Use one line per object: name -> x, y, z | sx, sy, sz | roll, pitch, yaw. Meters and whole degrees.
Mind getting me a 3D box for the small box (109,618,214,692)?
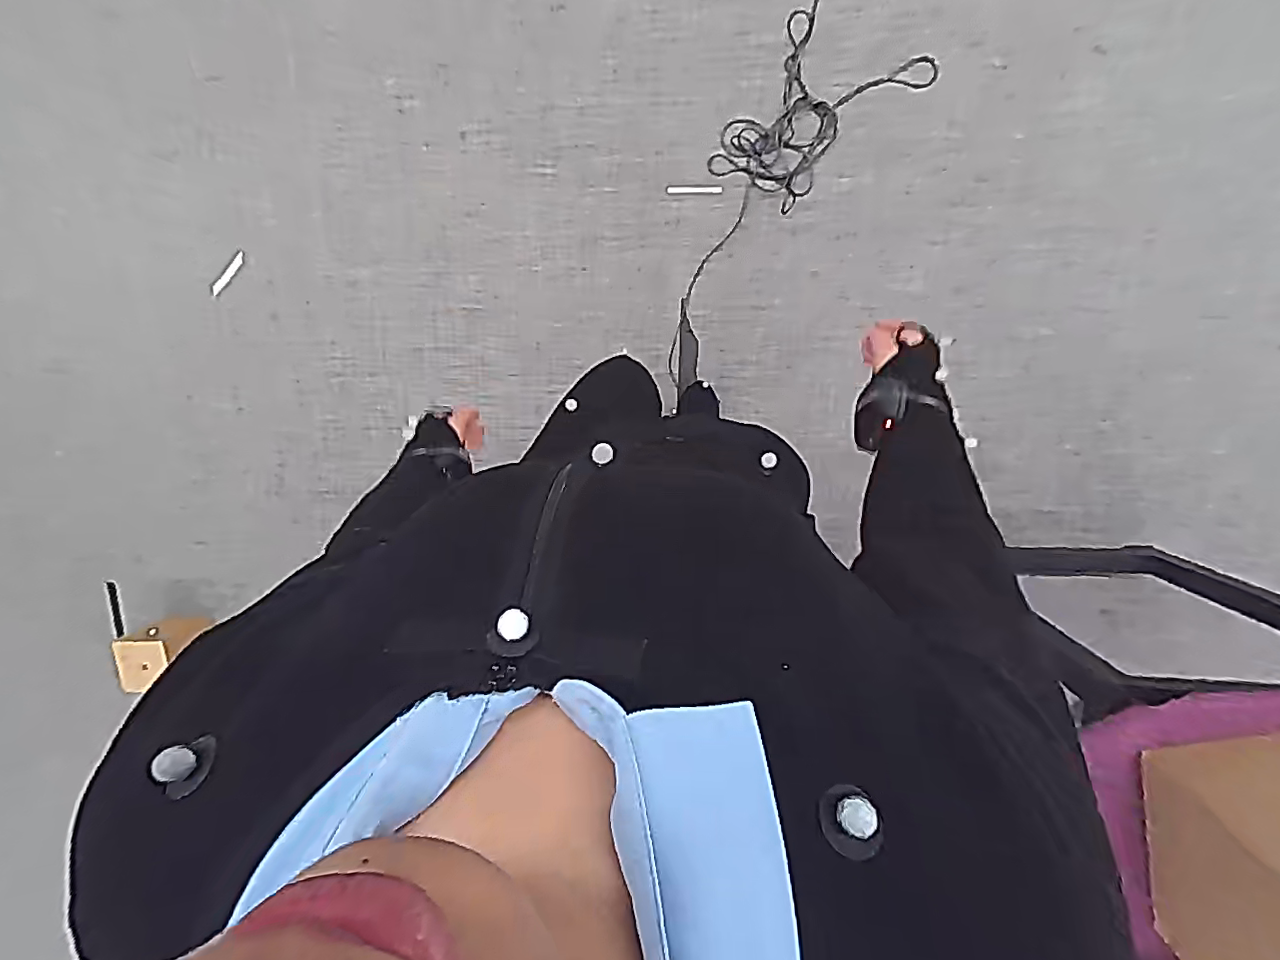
small box -> -1.469, 0.537, 1.678 | 0.179, 0.176, 0.168 | -2, 100, 7
